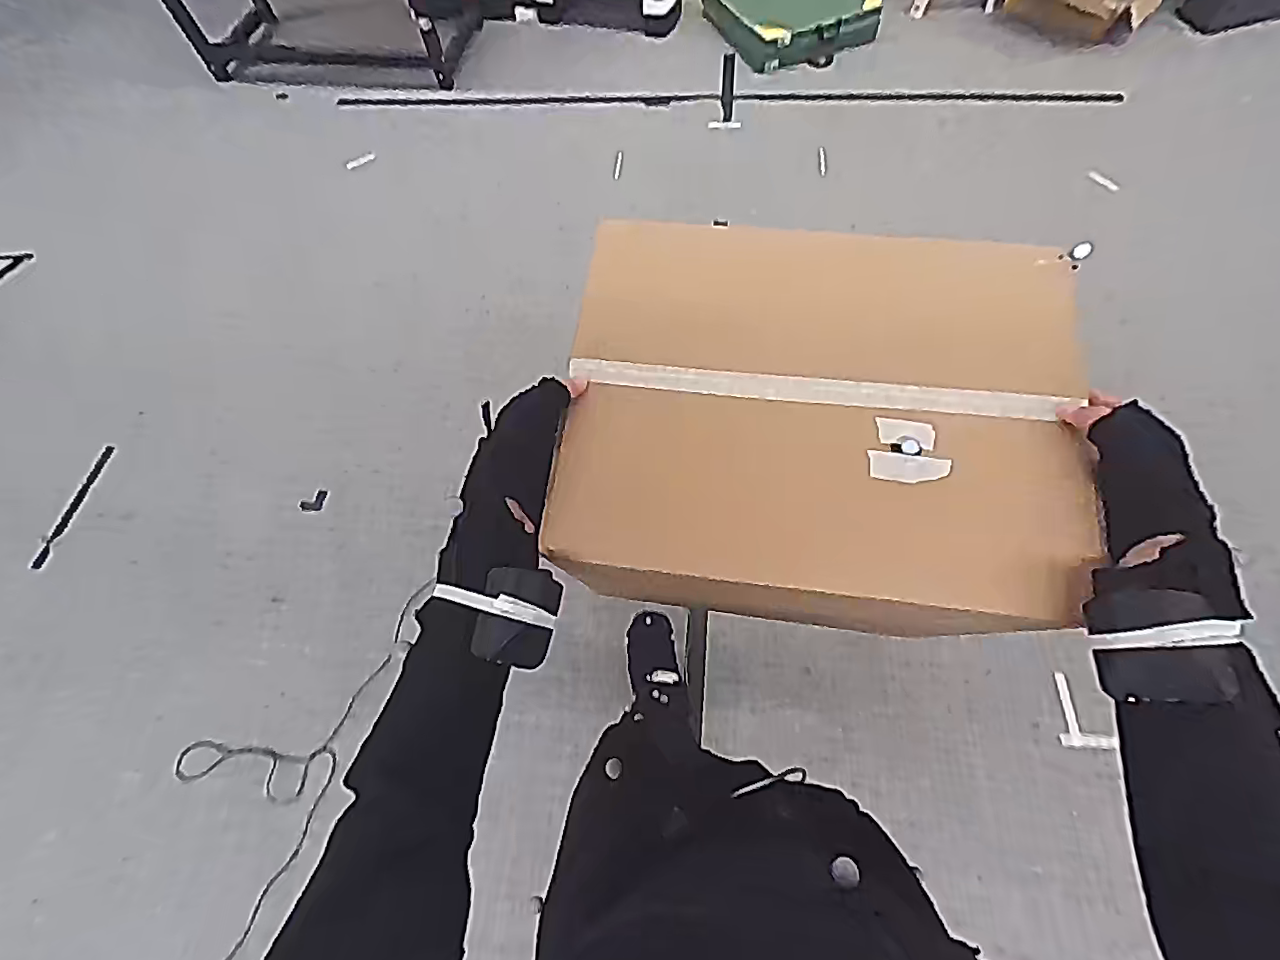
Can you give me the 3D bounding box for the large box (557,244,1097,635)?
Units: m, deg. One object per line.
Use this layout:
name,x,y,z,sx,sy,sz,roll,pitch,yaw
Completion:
large box,0.153,-0.015,0.585,0.408,0.320,0.320,6,74,5
